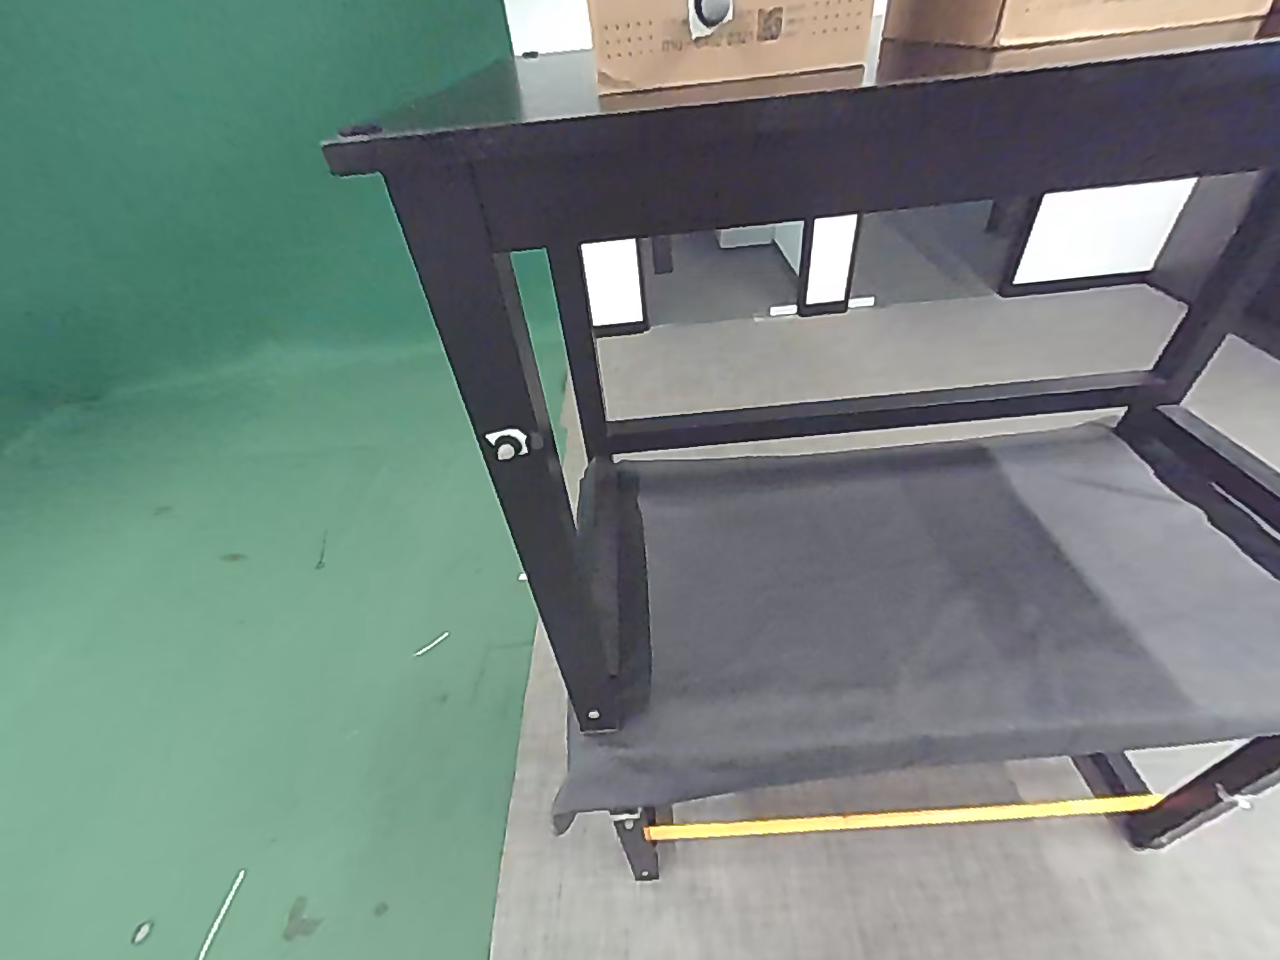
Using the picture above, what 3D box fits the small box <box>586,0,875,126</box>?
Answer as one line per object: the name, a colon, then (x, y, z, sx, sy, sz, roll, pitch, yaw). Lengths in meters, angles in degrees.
small box: (0.045, -0.343, 0.348, 0.168, 0.176, 0.179, -7, 42, 1)
